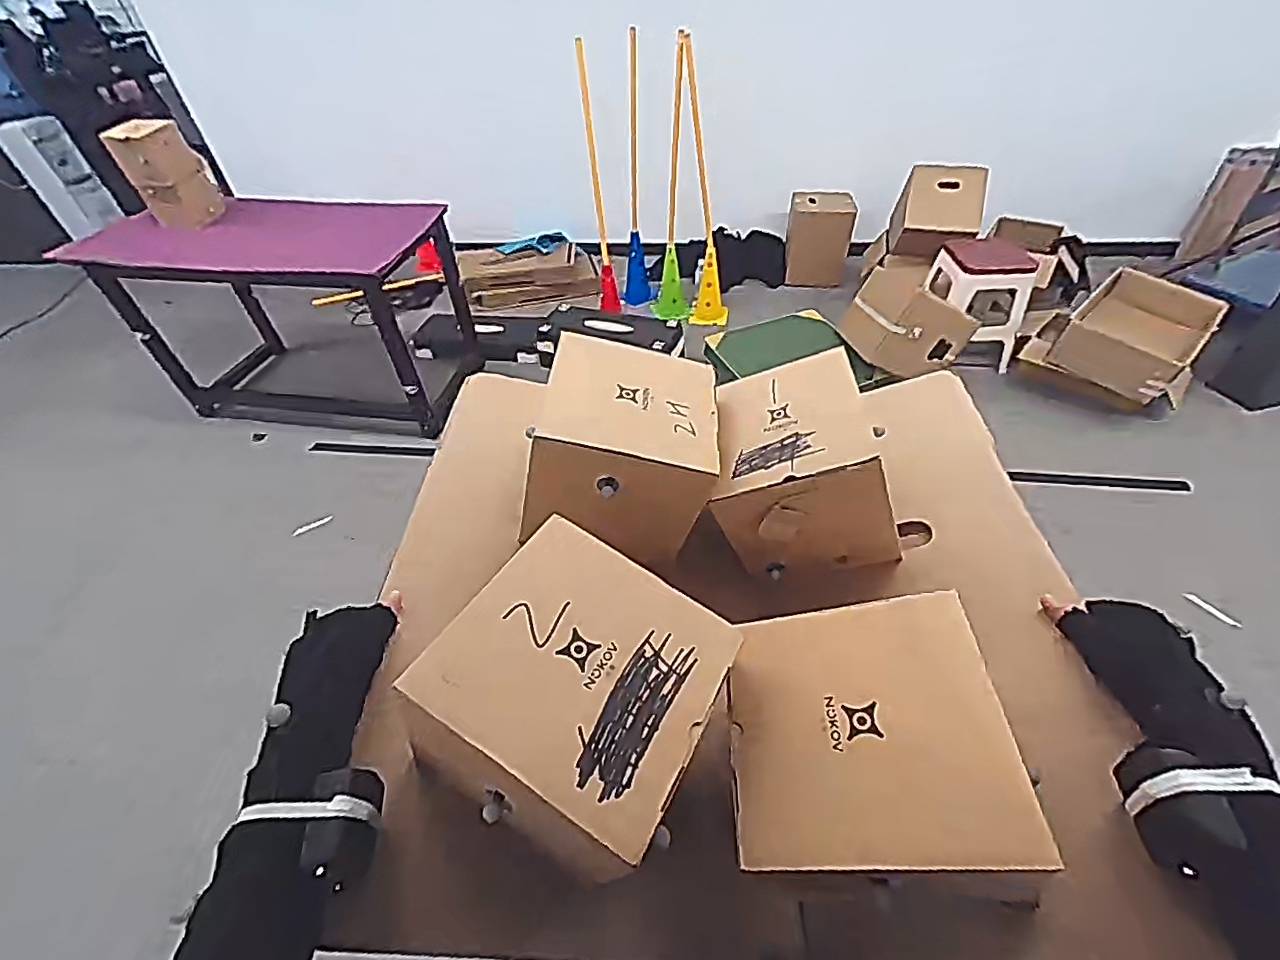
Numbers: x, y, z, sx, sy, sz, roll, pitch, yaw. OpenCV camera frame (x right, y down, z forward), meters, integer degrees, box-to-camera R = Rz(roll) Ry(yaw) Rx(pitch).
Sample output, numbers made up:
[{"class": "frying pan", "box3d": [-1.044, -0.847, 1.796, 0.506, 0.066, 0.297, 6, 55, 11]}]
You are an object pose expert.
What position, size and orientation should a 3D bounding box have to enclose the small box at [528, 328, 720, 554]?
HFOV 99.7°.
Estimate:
[{"class": "small box", "box3d": [-0.021, -0.037, 0.605, 0.179, 0.176, 0.168, 13, 48, -8]}]
